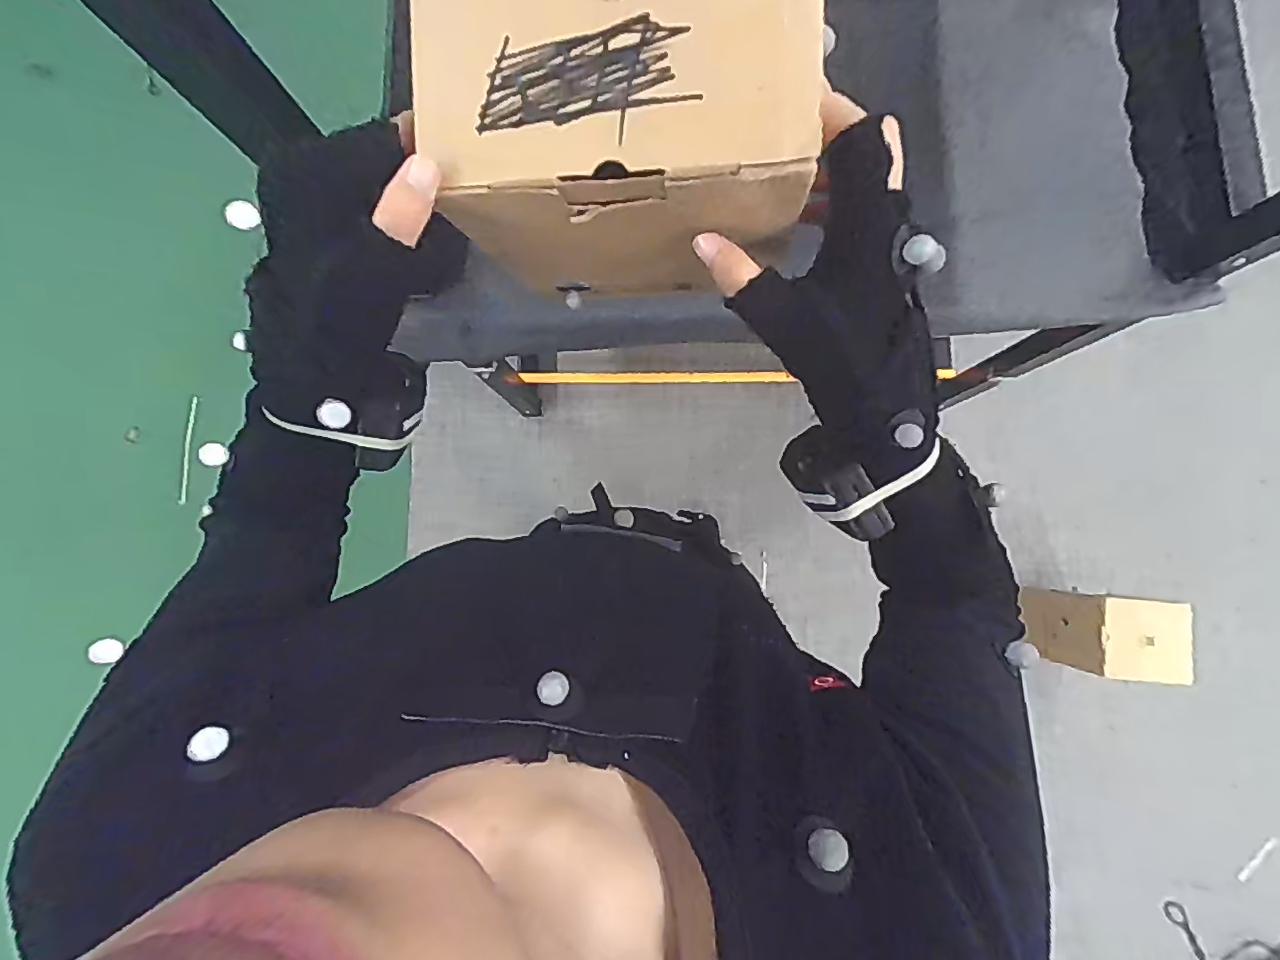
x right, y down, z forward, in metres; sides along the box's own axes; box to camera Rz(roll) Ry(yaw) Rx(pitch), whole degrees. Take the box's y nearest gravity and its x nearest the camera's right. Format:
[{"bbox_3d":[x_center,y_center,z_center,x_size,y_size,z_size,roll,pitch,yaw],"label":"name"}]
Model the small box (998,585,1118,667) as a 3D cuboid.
[{"bbox_3d":[1.041,0.358,1.354,0.179,0.176,0.168,6,83,3],"label":"small box"}]
